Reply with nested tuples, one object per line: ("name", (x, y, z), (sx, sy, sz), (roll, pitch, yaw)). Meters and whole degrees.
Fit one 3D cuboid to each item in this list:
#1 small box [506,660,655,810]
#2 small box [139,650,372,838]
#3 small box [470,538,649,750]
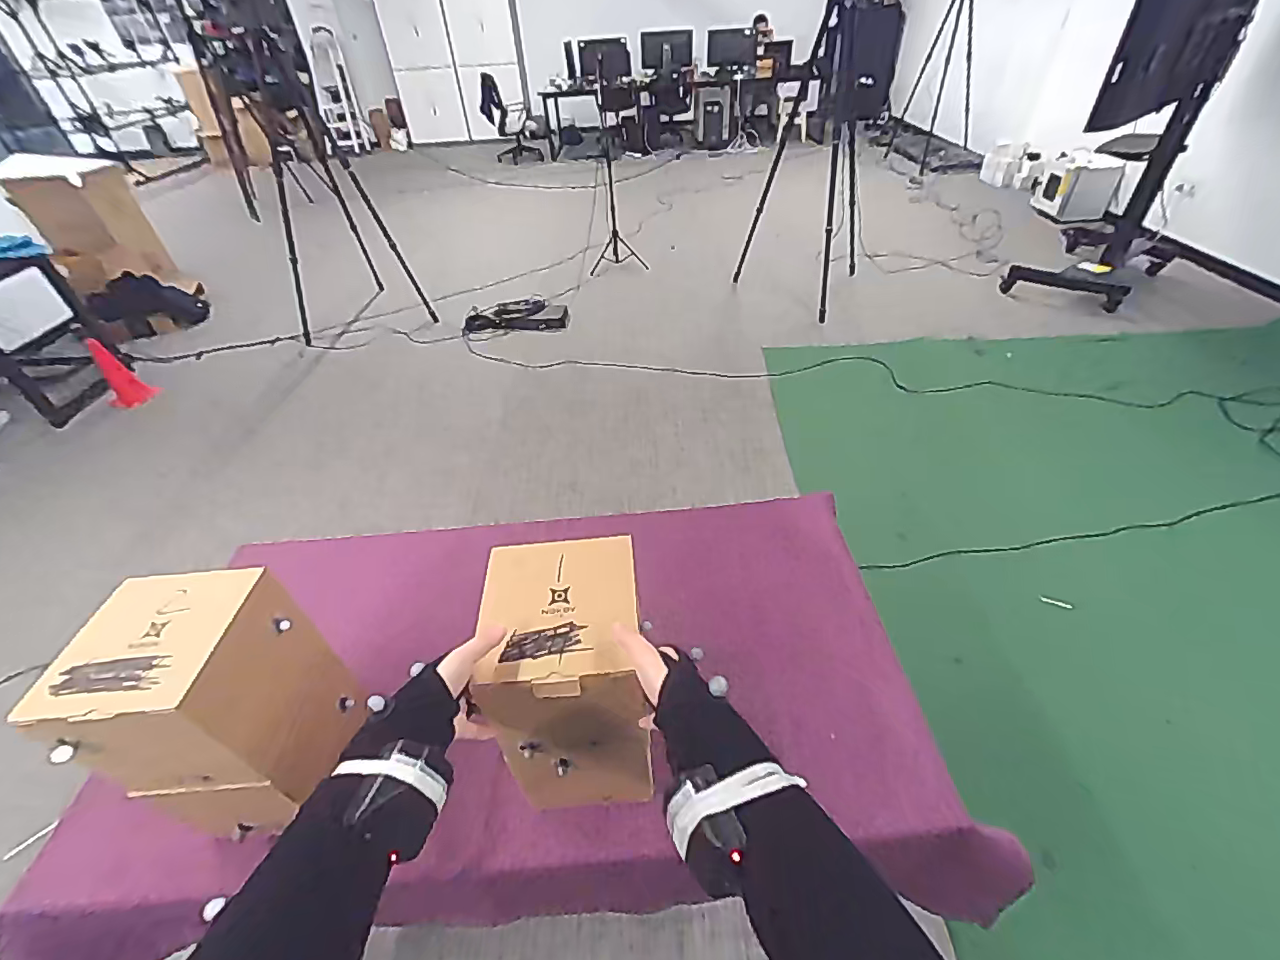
("small box", (-0.070, 0.315, 0.731), (0.168, 0.176, 0.179), (-6, 41, 1))
("small box", (-0.489, 0.354, 0.728), (0.168, 0.176, 0.179), (-5, 42, 1))
("small box", (-0.080, 0.192, 0.622), (0.168, 0.176, 0.179), (-5, 41, -1))
